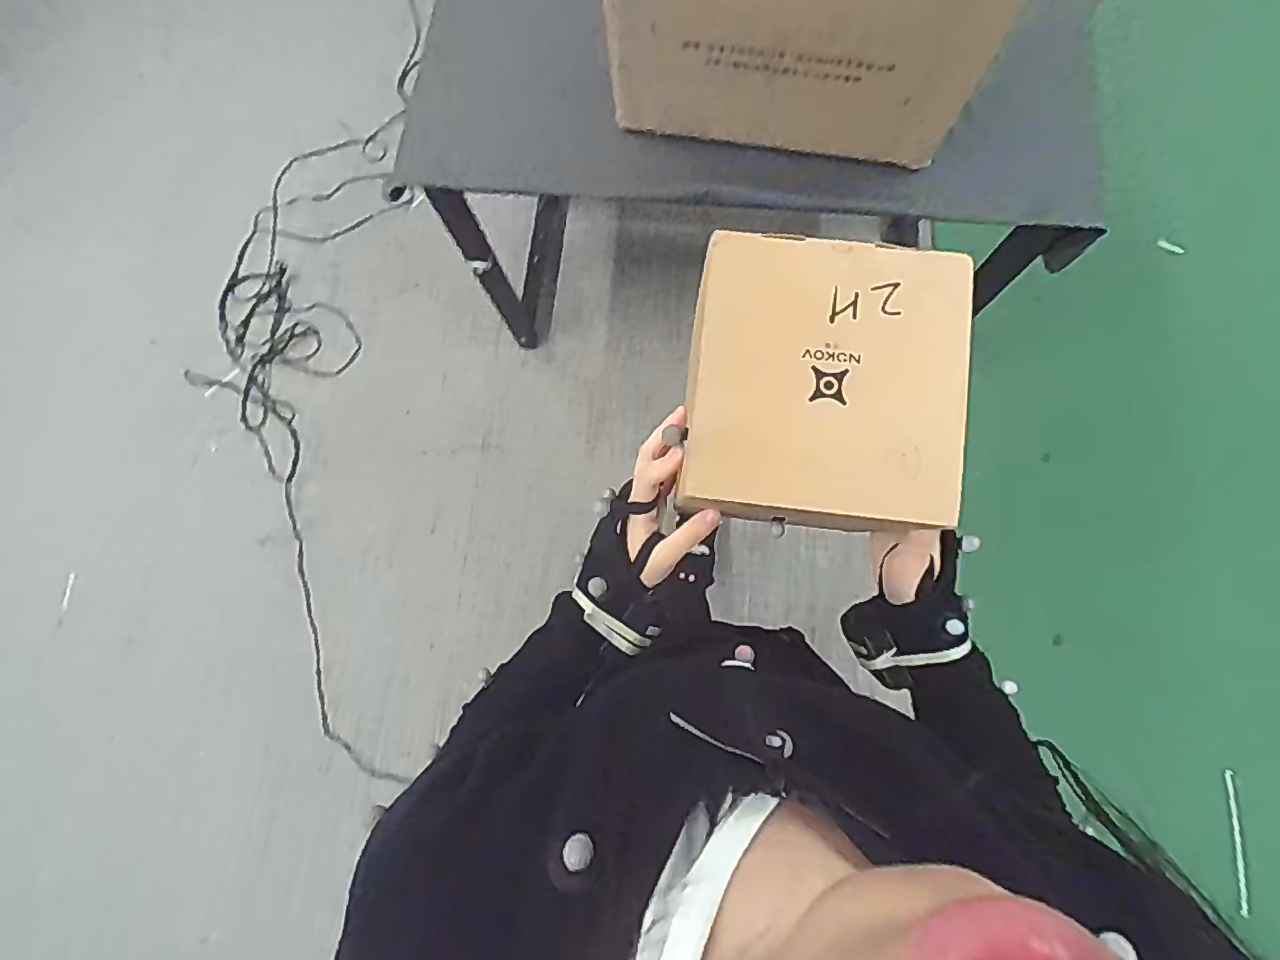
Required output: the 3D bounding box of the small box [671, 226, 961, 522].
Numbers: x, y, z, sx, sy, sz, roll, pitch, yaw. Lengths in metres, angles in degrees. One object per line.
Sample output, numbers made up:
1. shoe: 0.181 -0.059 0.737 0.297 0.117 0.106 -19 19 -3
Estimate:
1. small box: 0.114 -0.062 0.417 0.168 0.176 0.179 7 84 2
